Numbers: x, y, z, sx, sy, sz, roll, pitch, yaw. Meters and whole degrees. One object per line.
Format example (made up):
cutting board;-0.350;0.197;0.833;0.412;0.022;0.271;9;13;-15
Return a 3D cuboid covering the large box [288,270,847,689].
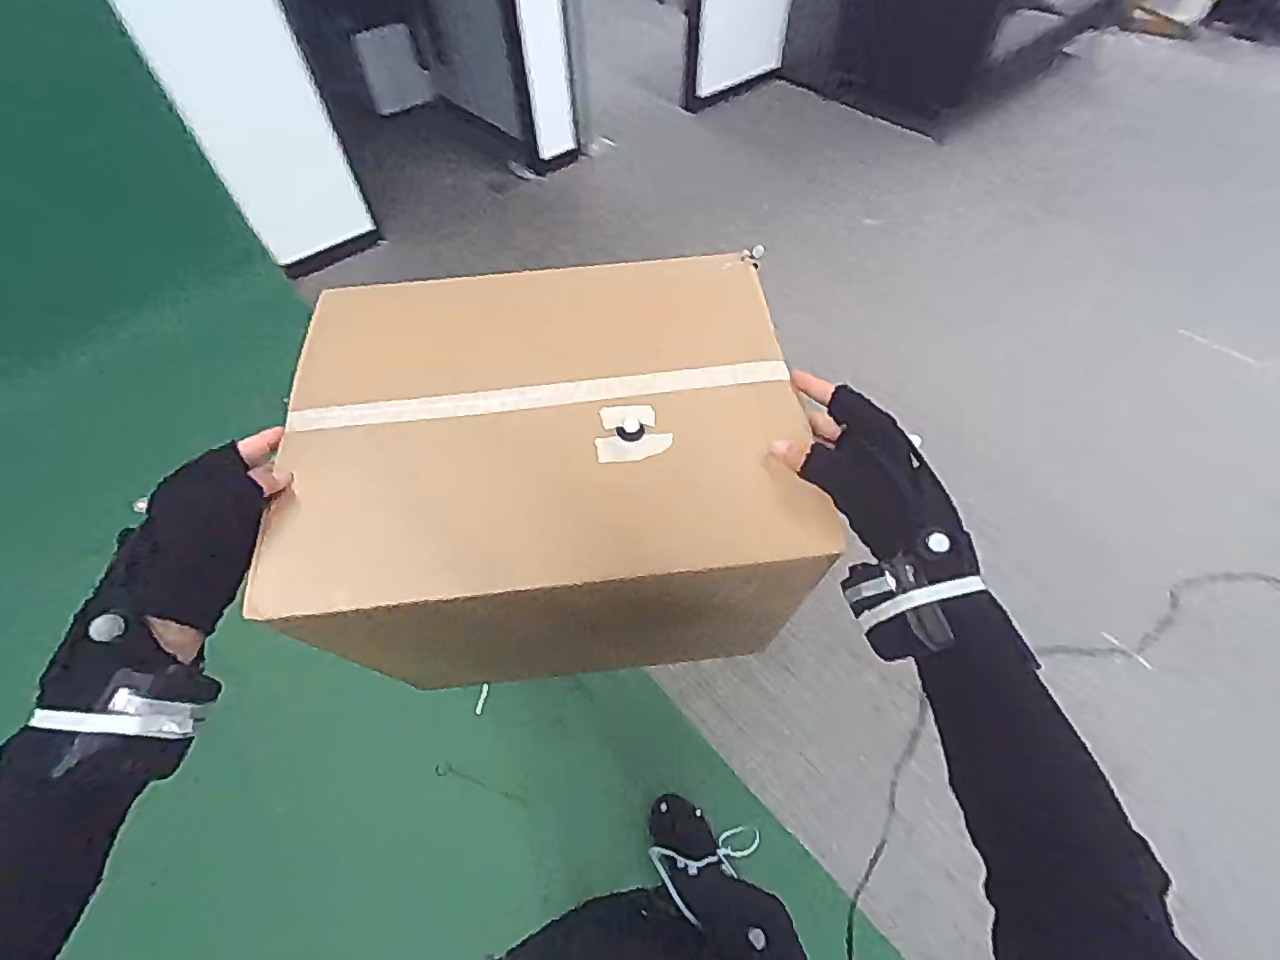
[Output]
large box;-0.063;0.016;0.580;0.408;0.320;0.320;-5;61;-3
